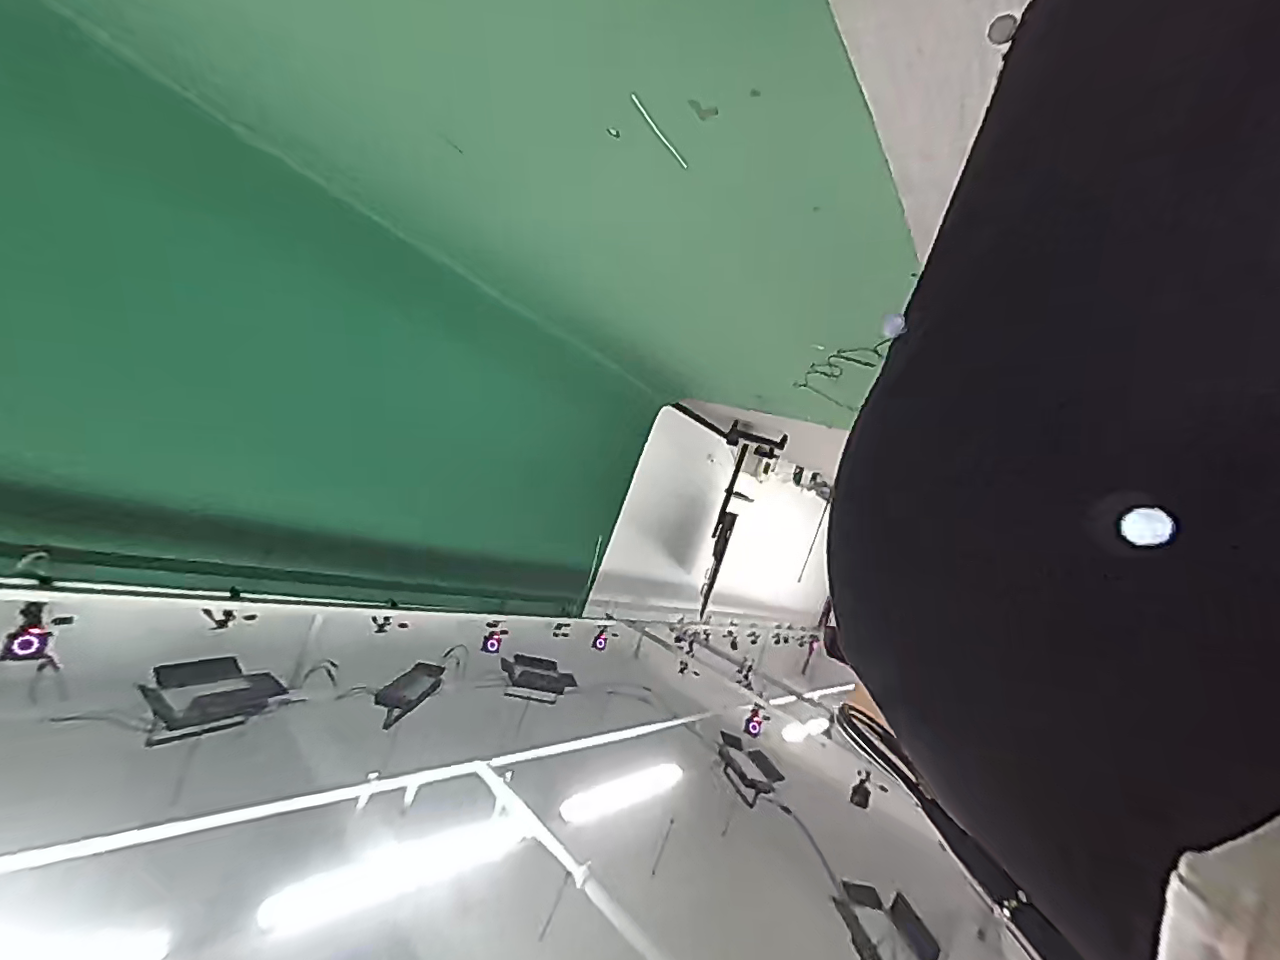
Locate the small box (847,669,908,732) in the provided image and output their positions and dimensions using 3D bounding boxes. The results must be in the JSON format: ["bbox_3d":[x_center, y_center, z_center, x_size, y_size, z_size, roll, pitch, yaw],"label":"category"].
[{"bbox_3d":[0.963,0.881,2.178,0.179,0.176,0.168,18,177,36],"label":"small box"}]
